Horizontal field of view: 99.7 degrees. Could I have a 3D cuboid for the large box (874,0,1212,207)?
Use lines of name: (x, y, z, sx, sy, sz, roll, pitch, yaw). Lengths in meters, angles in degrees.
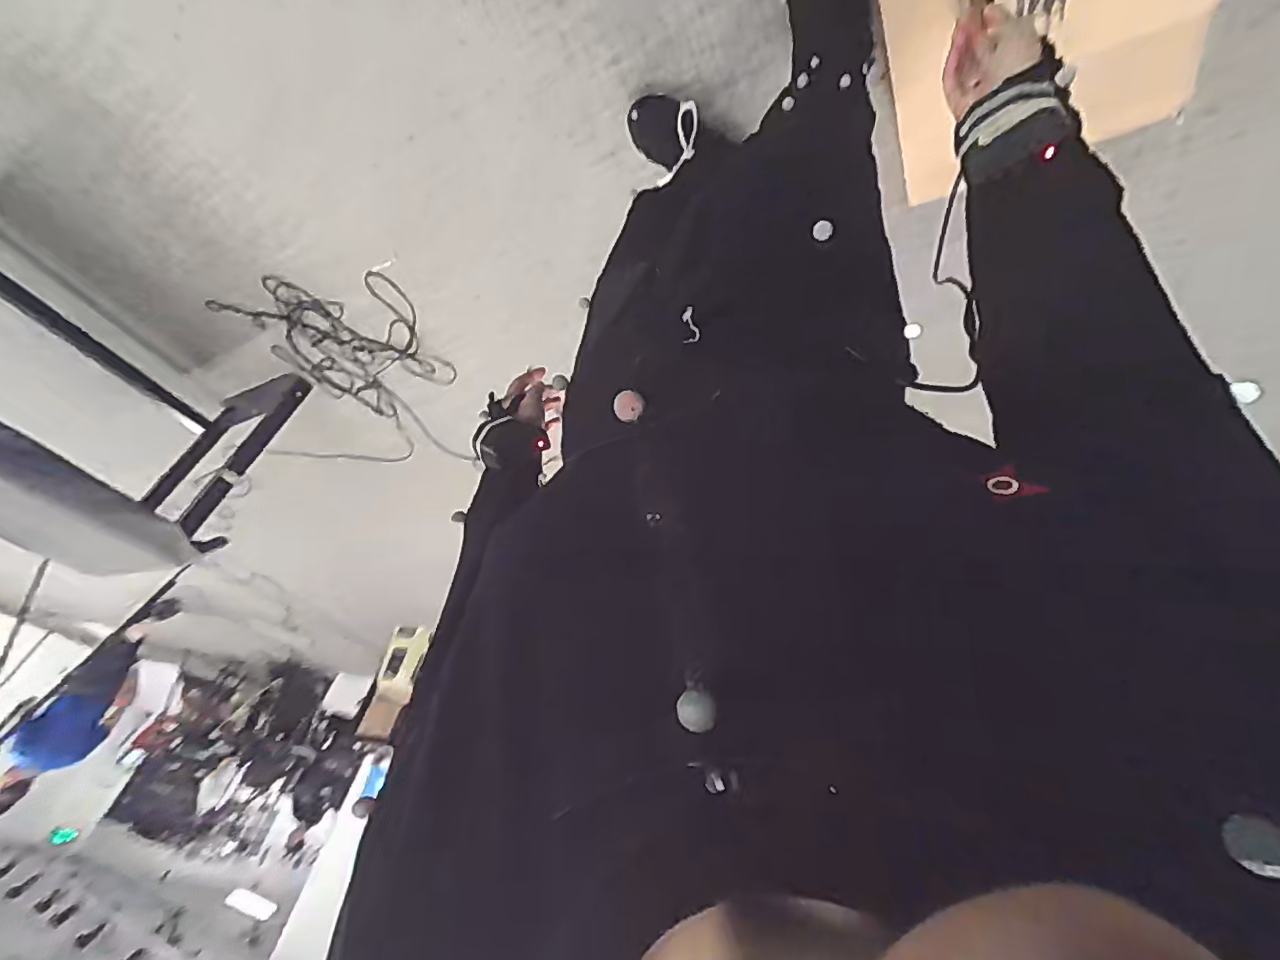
large box: (0.473, -0.662, 0.689, 0.320, 0.320, 0.408, -9, 138, 29)
